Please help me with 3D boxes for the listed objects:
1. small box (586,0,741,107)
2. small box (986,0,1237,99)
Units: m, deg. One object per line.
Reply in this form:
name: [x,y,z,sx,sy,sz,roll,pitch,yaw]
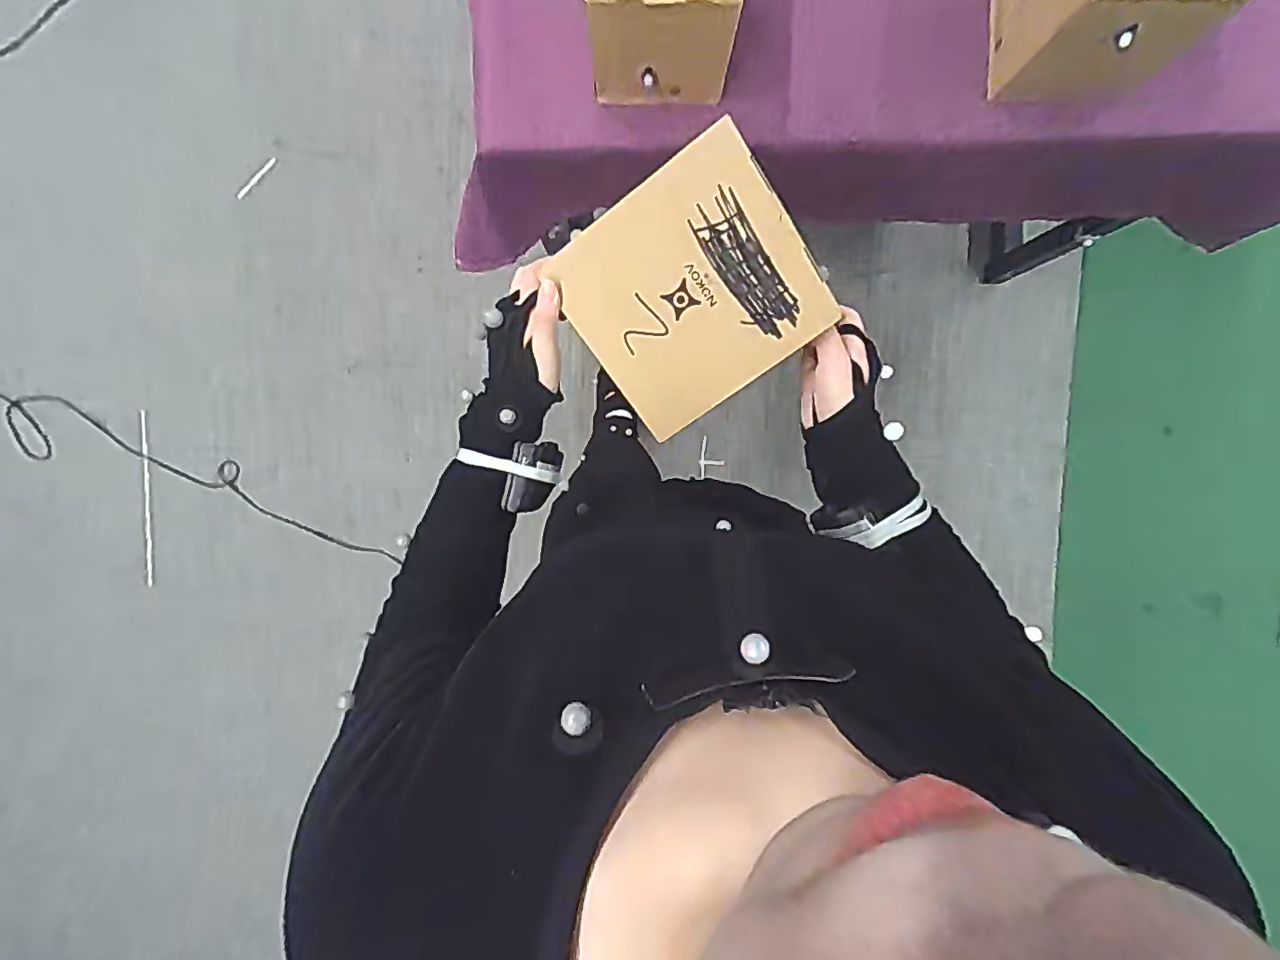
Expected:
small box: [0.022,-0.583,0.637,0.168,0.176,0.179,-1,94,-1]
small box: [0.544,-0.584,0.638,0.179,0.176,0.168,0,94,0]
